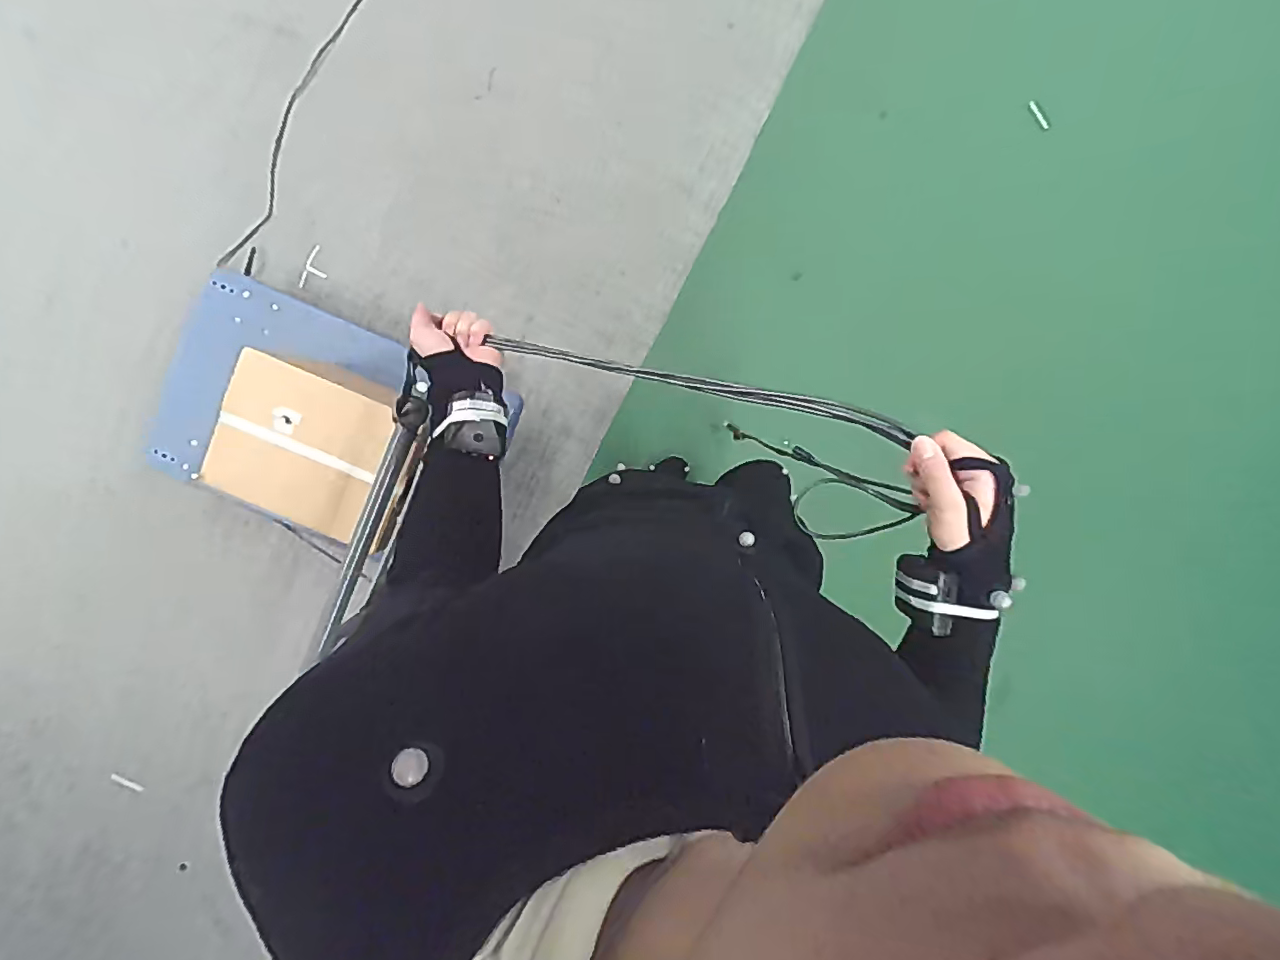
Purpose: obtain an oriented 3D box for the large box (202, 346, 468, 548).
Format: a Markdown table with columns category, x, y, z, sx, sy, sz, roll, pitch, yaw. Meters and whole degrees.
| category | x | y | z | sx | sy | sz | roll | pitch | yaw |
| --- | --- | --- | --- | --- | --- | --- | --- | --- | --- |
| large box | -0.686 | -0.080 | 1.282 | 0.408 | 0.320 | 0.320 | 23 | 95 | -1 |
